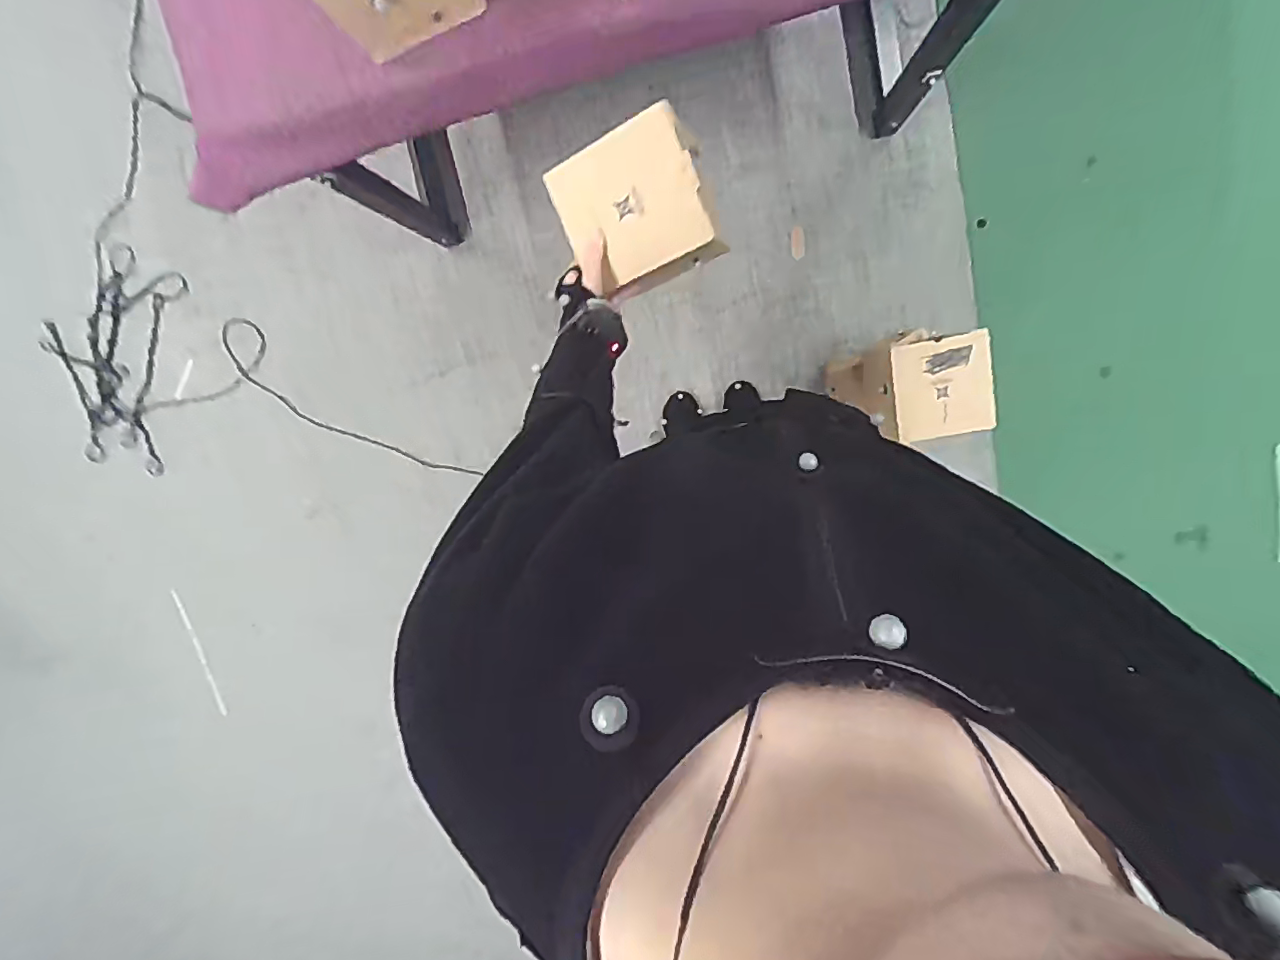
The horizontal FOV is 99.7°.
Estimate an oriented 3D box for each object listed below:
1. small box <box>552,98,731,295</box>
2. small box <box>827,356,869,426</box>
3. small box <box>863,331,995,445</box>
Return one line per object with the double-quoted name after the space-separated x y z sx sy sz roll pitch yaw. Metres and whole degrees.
0.016 -0.365 0.733 0.179 0.176 0.168 -17 101 22 "small box"
0.571 -0.222 1.345 0.179 0.176 0.168 -1 100 7 "small box"
0.535 -0.172 1.021 0.168 0.176 0.179 -10 100 7 "small box"
